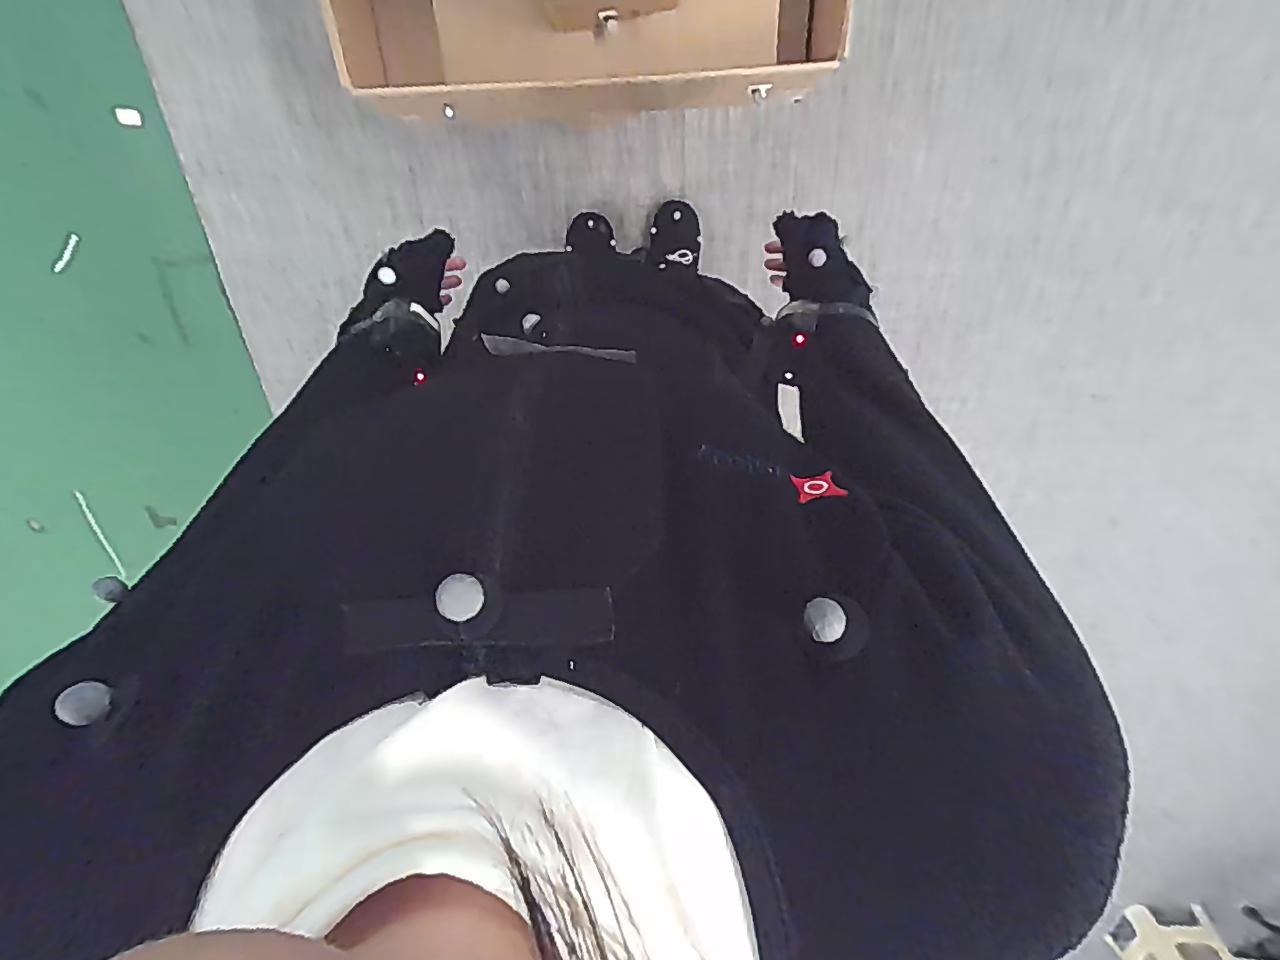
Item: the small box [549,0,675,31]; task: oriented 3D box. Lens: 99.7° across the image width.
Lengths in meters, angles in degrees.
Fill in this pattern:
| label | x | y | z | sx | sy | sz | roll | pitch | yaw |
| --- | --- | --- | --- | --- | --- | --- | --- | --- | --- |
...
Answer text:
| label | x | y | z | sx | sy | sz | roll | pitch | yaw |
| --- | --- | --- | --- | --- | --- | --- | --- | --- | --- |
| small box | -0.046 | -0.667 | 0.629 | 0.168 | 0.176 | 0.179 | -7 | 118 | 6 |
